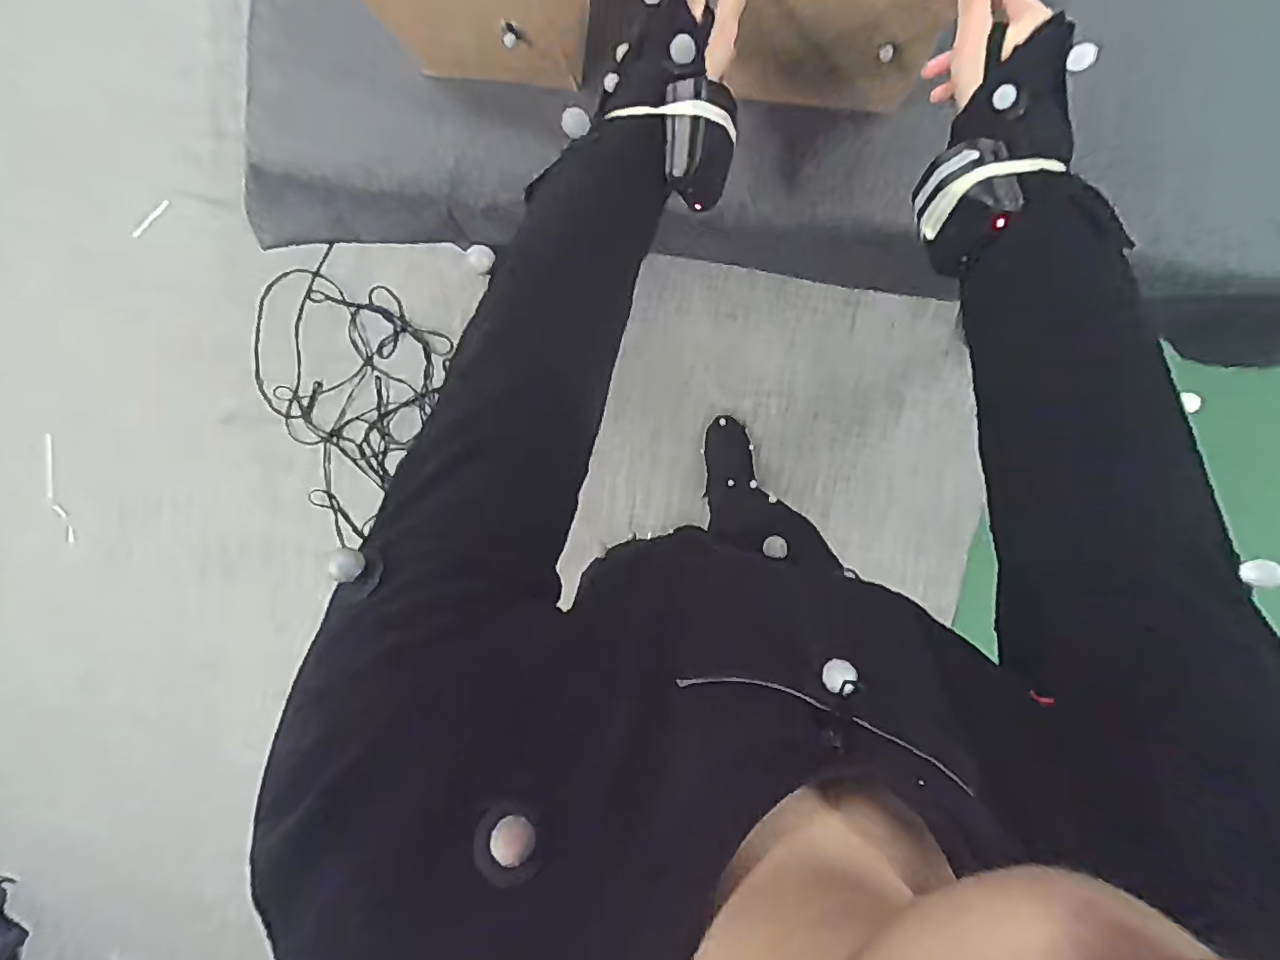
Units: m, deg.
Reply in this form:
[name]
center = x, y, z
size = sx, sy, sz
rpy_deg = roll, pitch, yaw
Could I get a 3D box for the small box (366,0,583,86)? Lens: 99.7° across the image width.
[small box]
center = -0.146, -0.496, 0.490
size = 0.179, 0.176, 0.168
rpy_deg = 9, 97, 6
